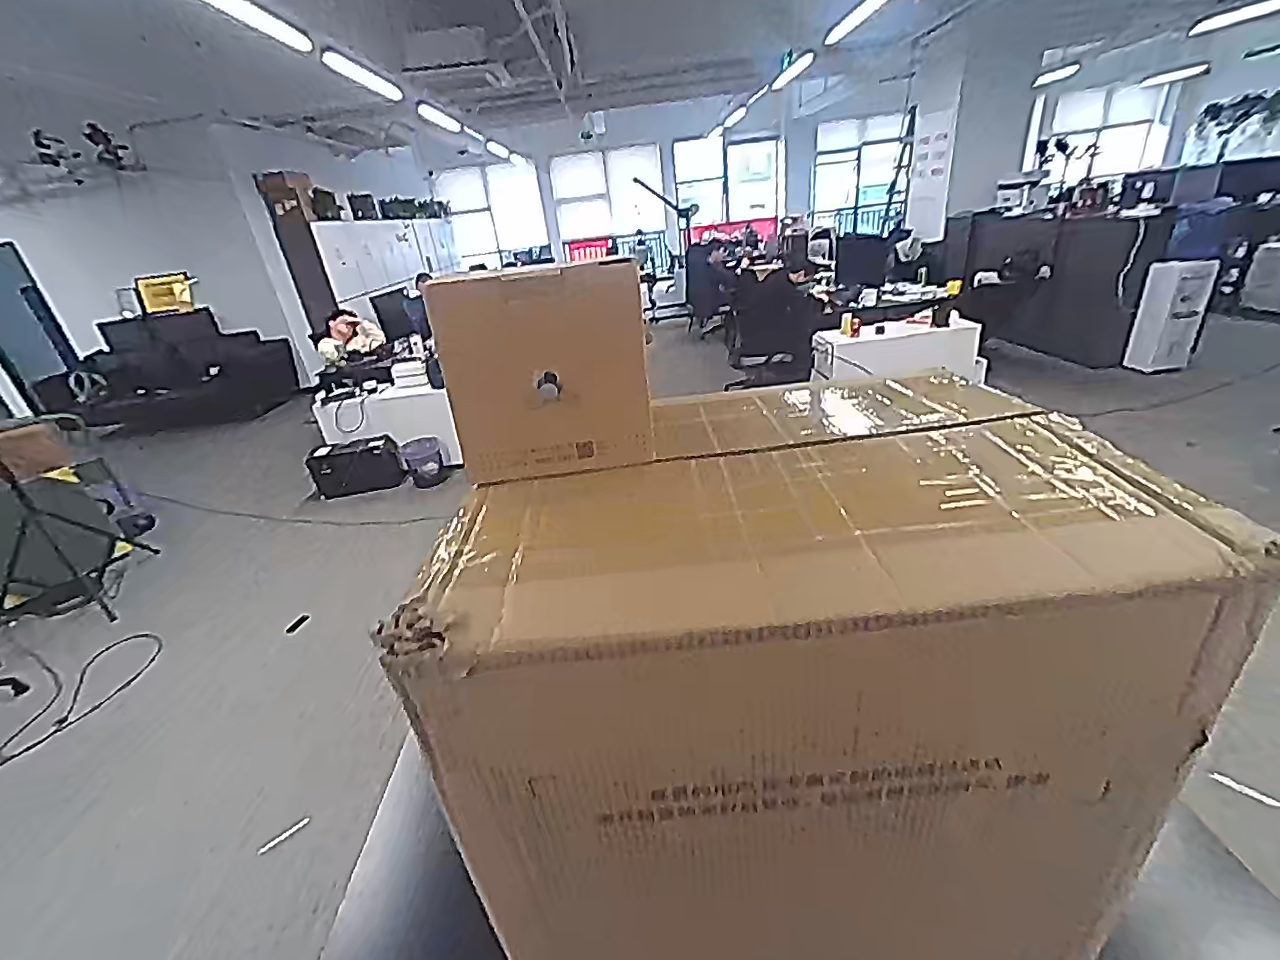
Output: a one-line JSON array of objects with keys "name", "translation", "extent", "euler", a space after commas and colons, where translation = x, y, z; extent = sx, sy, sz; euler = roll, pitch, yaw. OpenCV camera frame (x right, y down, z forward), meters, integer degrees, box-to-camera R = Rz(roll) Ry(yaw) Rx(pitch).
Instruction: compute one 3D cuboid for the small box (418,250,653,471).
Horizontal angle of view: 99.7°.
[{"name": "small box", "translation": [-0.083, -0.113, 0.510], "extent": [0.168, 0.176, 0.179], "euler": [-8, 24, -3]}]
